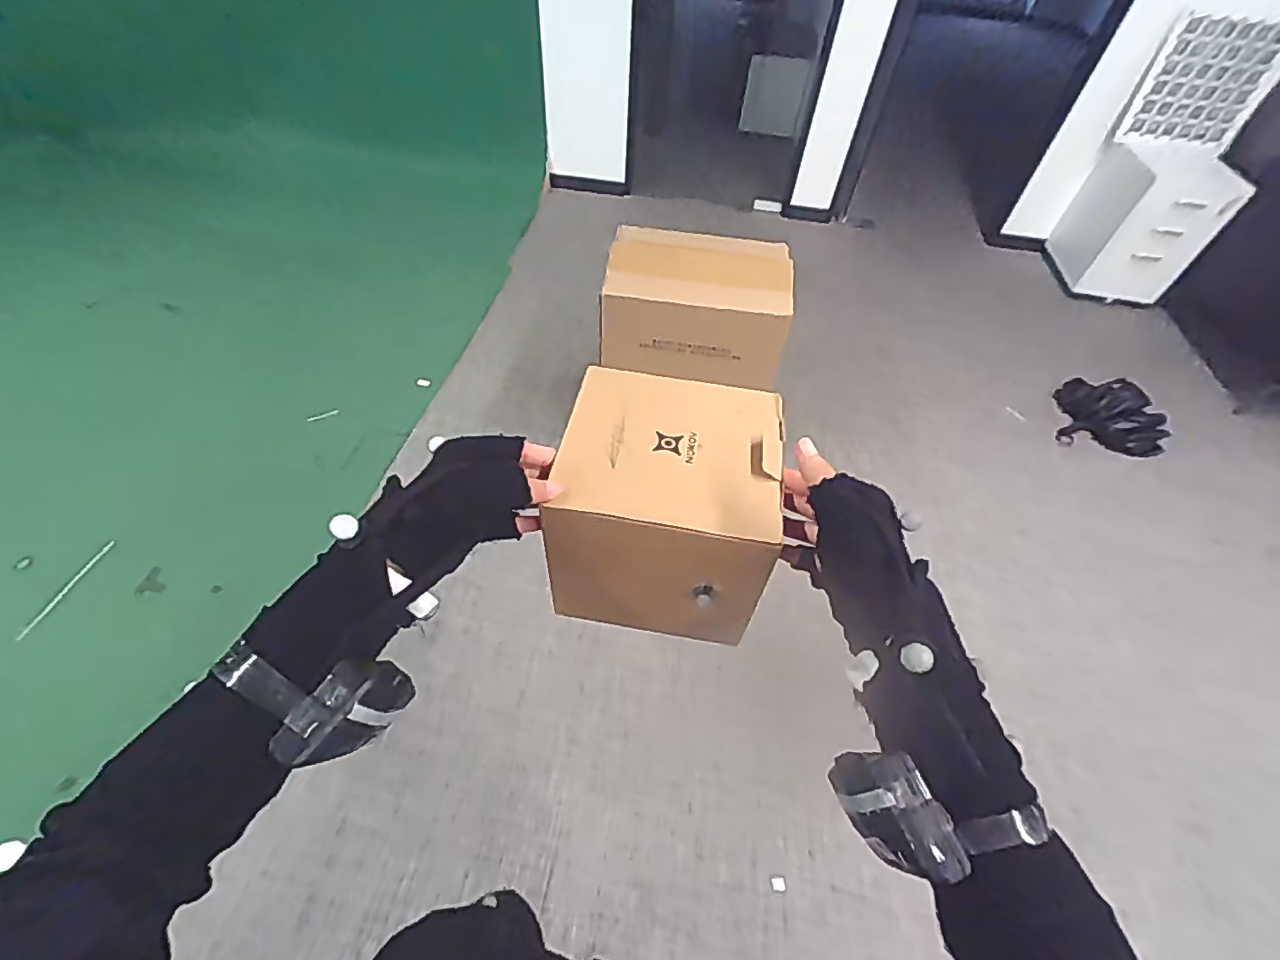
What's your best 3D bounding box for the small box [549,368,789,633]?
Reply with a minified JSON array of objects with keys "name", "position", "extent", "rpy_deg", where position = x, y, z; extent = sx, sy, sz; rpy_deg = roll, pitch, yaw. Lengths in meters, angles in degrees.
[{"name":"small box","position":[0.027,0.024,0.496],"extent":[0.179,0.176,0.168],"rpy_deg":[8,49,4]}]
